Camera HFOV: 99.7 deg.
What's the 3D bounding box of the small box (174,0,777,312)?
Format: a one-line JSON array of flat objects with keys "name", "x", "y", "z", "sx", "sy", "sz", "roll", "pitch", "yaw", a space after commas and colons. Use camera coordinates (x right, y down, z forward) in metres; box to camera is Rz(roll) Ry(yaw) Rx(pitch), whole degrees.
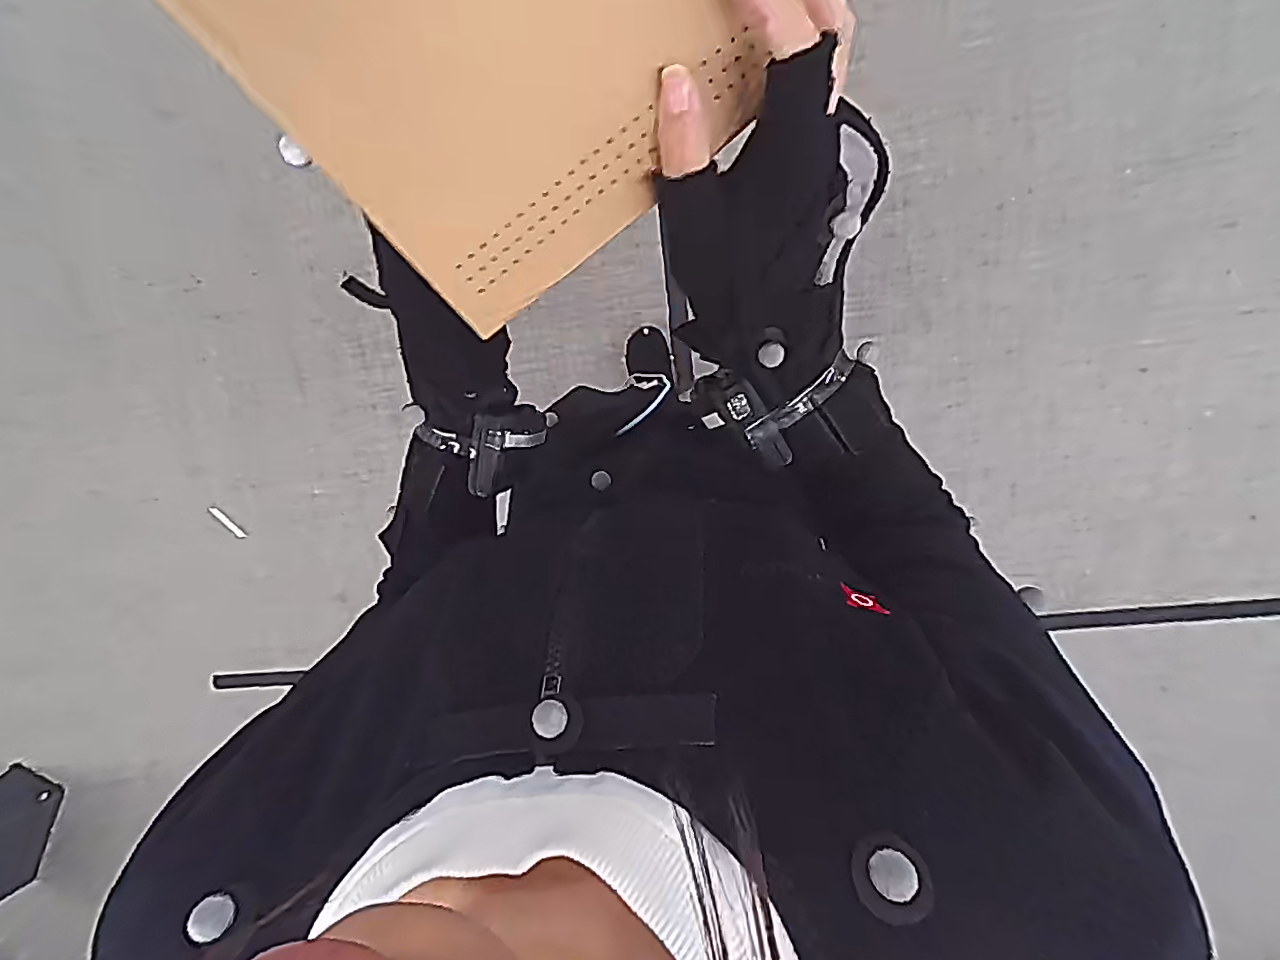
[{"name": "small box", "x": -0.068, "y": -0.213, "z": 0.248, "sx": 0.179, "sy": 0.168, "sz": 0.176, "roll": -35, "pitch": 135, "yaw": 9}]
